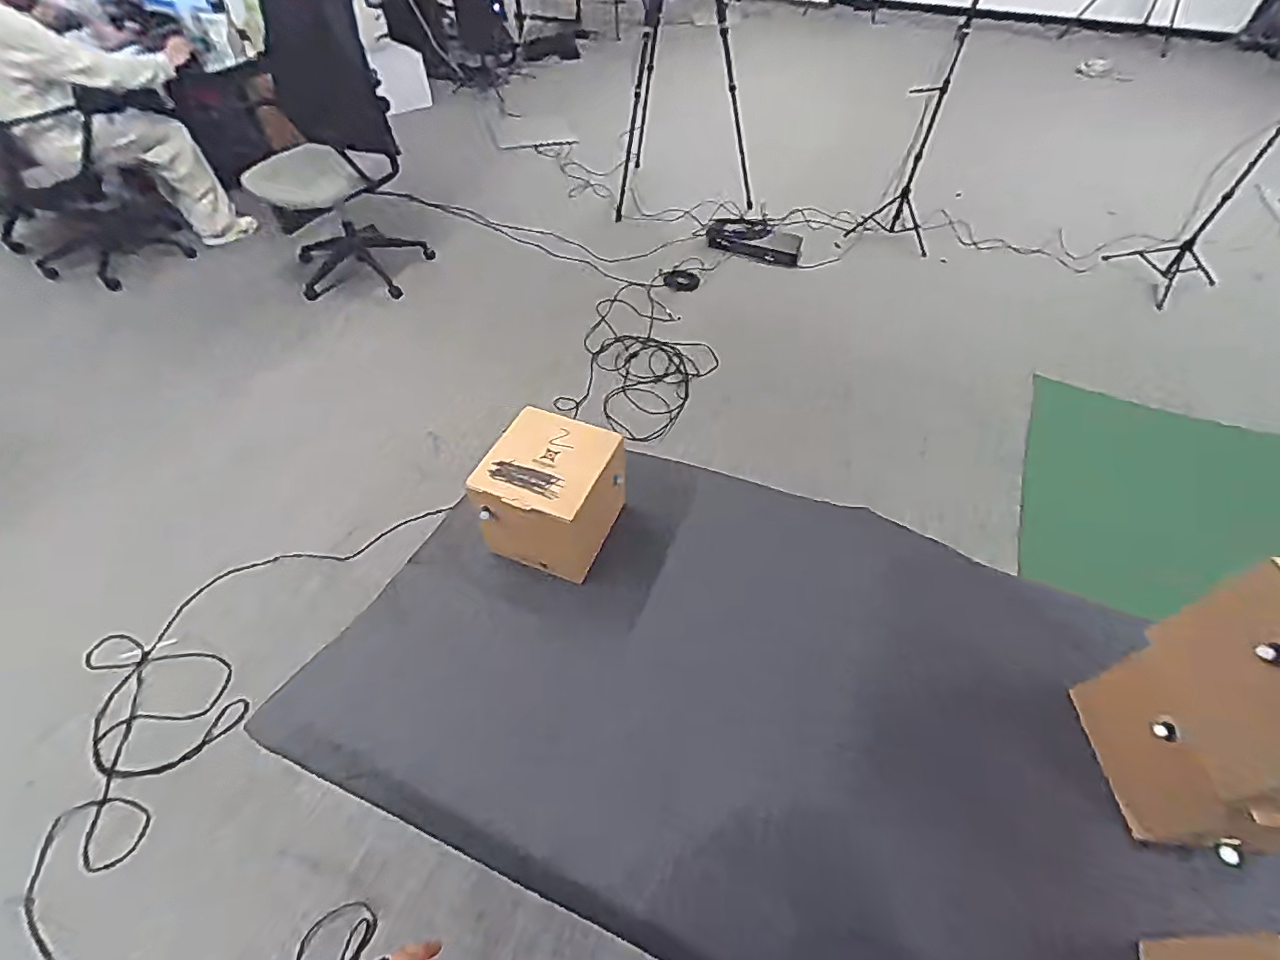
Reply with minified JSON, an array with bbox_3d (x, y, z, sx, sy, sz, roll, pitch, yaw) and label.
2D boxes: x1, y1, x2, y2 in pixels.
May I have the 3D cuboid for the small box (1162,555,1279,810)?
[{"bbox_3d":[0.638,0.191,0.483,0.168,0.176,0.179,6,52,8],"label":"small box"}]

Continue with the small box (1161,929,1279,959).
[{"bbox_3d":[0.559,0.510,0.430,0.179,0.176,0.168,24,52,19],"label":"small box"}]

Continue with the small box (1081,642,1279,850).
[{"bbox_3d":[0.656,0.300,0.607,0.168,0.176,0.179,1,52,4],"label":"small box"}]
